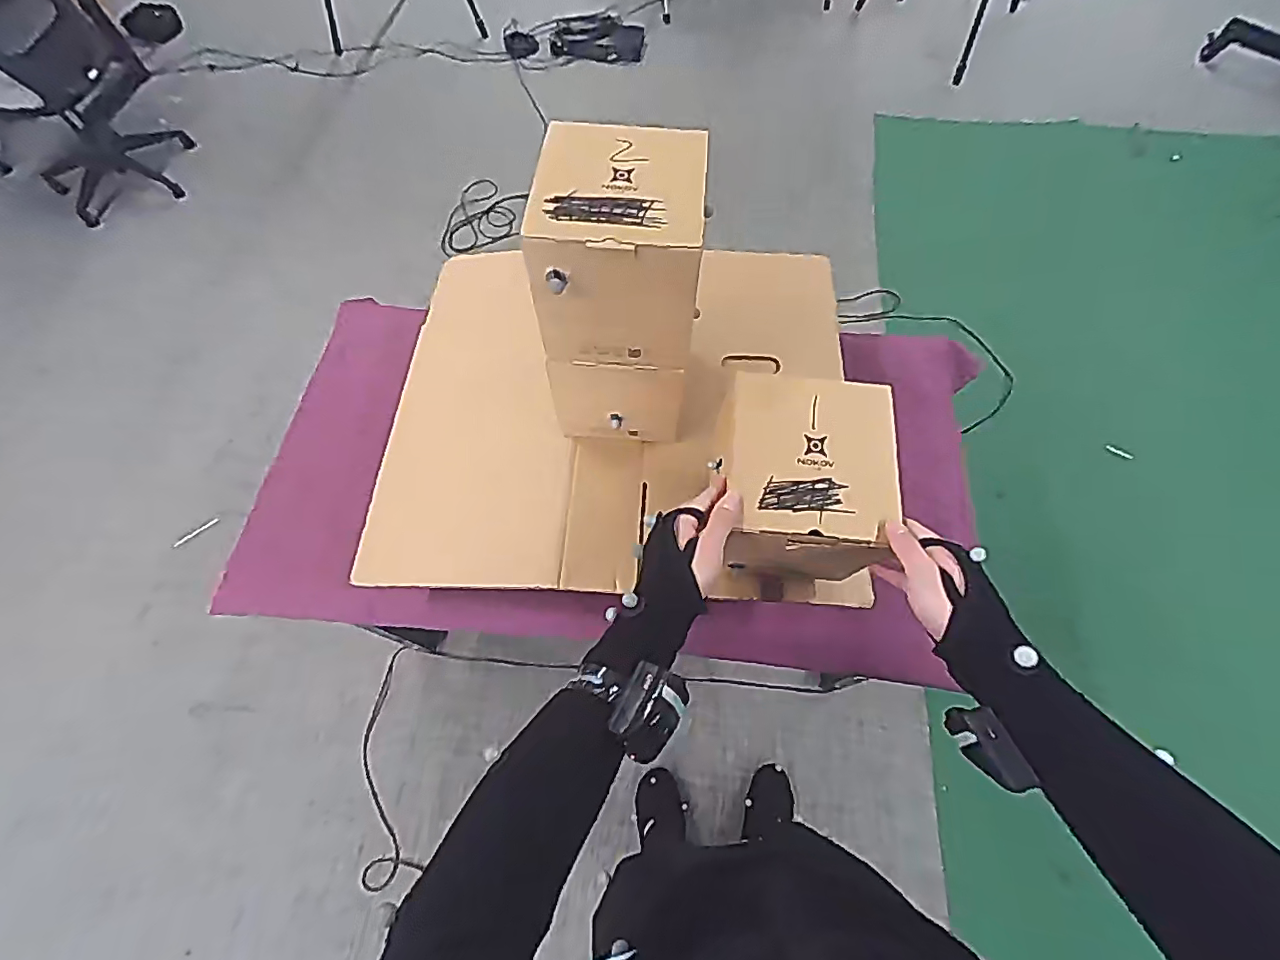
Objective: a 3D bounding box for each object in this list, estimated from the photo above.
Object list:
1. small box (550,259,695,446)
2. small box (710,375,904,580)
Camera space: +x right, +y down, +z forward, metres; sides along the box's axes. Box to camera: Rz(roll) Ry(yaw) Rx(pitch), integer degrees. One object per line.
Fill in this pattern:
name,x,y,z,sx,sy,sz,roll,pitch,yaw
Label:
small box,-0.018,-0.167,0.732,0.168,0.176,0.179,4,65,2
small box,0.173,0.007,0.606,0.168,0.176,0.179,6,67,1
